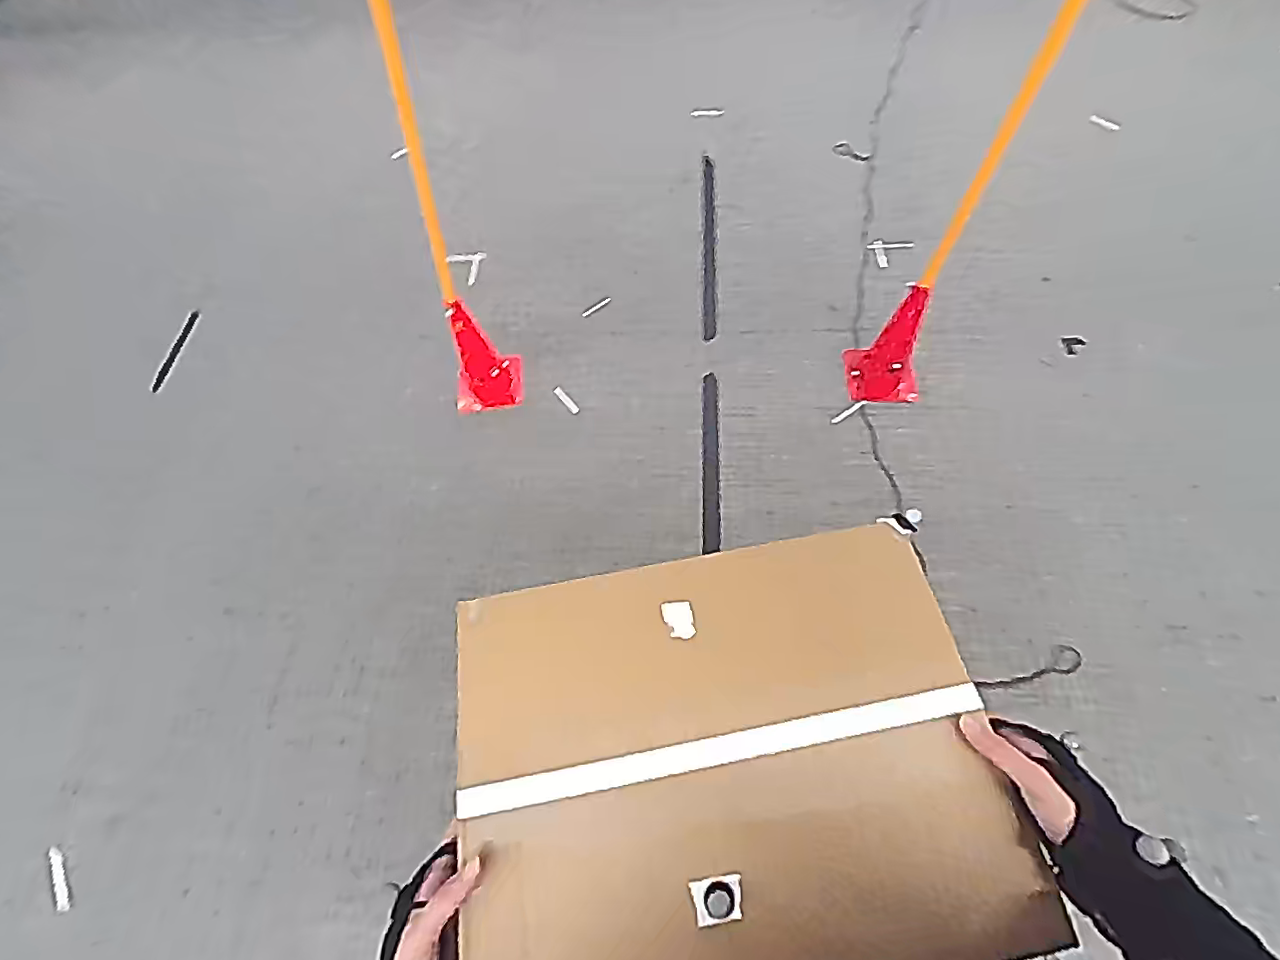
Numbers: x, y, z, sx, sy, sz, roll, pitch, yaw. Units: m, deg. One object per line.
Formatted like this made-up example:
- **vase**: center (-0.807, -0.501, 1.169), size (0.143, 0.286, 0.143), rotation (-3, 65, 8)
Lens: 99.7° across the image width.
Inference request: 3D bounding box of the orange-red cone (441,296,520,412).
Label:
- **orange-red cone**: center (-0.492, -0.383, 1.564), size (0.199, 0.360, 0.198), rotation (-8, 61, 1)
